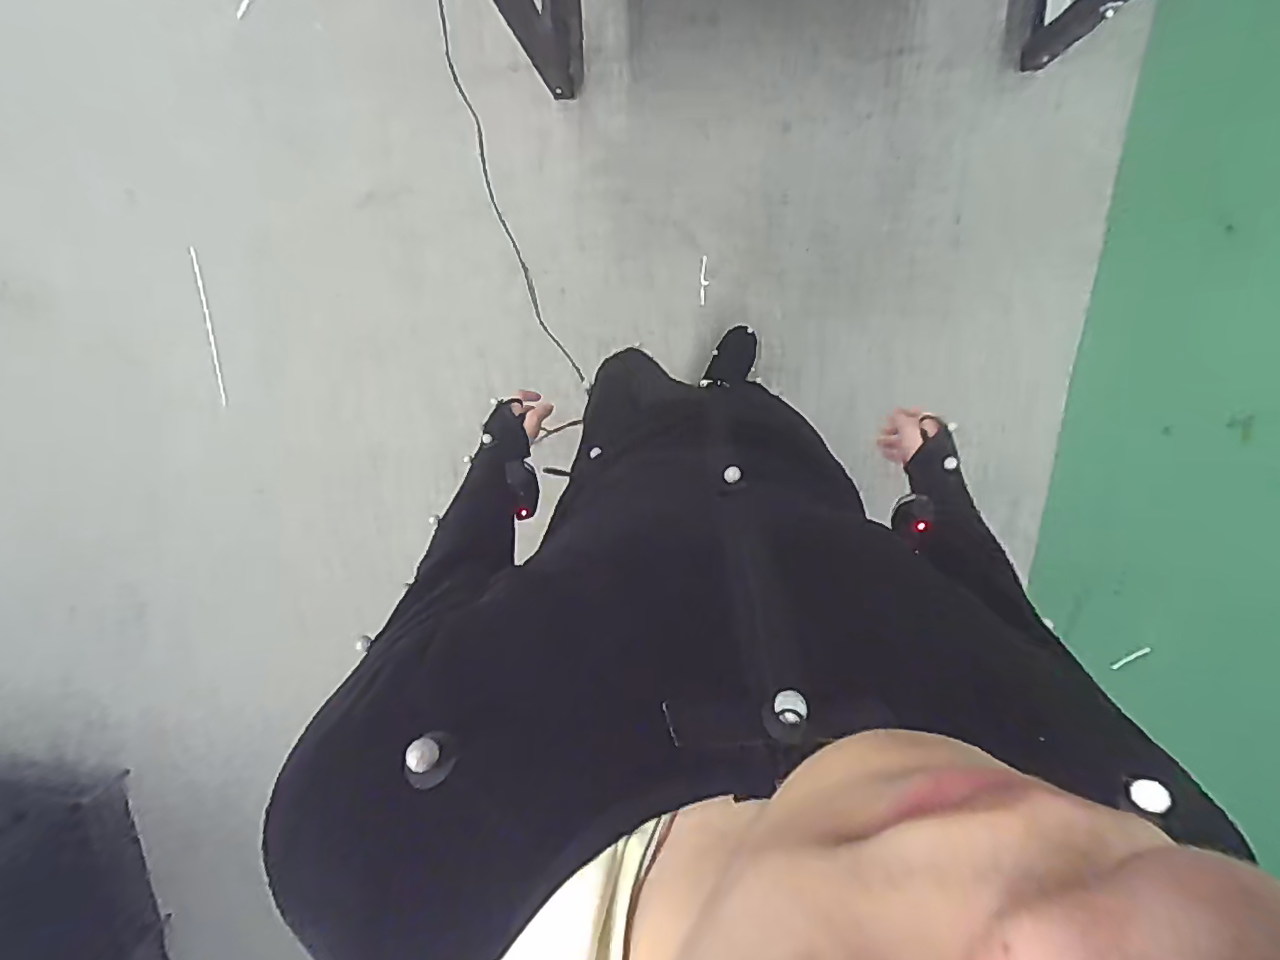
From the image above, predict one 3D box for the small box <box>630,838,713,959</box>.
[{"bbox_3d":[0.078,1.011,1.303,0.168,0.176,0.179,10,107,4],"label":"small box"}]
